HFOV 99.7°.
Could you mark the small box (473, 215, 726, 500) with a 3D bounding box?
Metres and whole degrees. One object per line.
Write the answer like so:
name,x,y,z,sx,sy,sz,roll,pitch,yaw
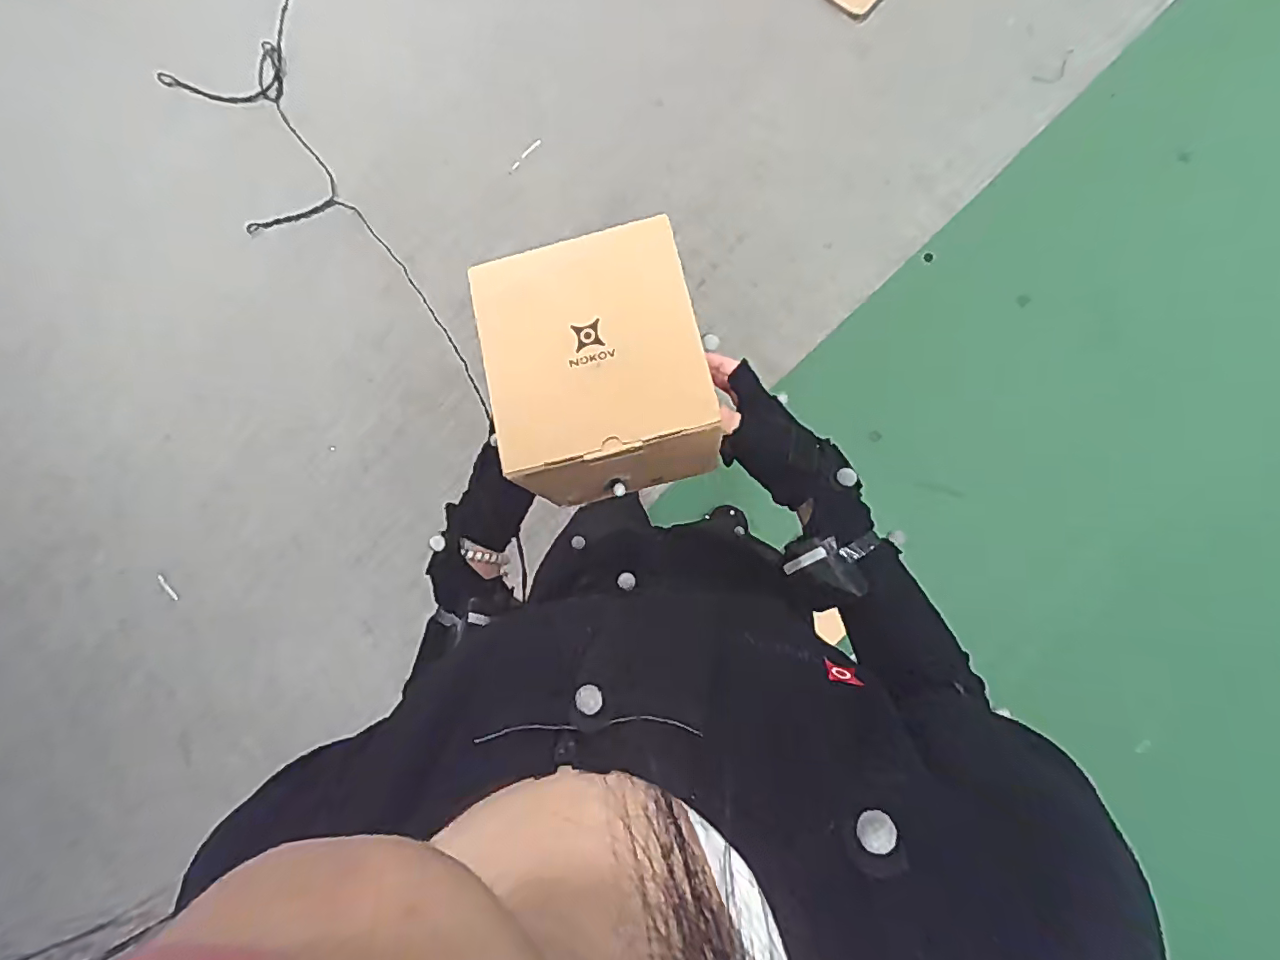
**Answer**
small box,-0.029,-0.092,0.485,0.168,0.176,0.179,-14,80,3
